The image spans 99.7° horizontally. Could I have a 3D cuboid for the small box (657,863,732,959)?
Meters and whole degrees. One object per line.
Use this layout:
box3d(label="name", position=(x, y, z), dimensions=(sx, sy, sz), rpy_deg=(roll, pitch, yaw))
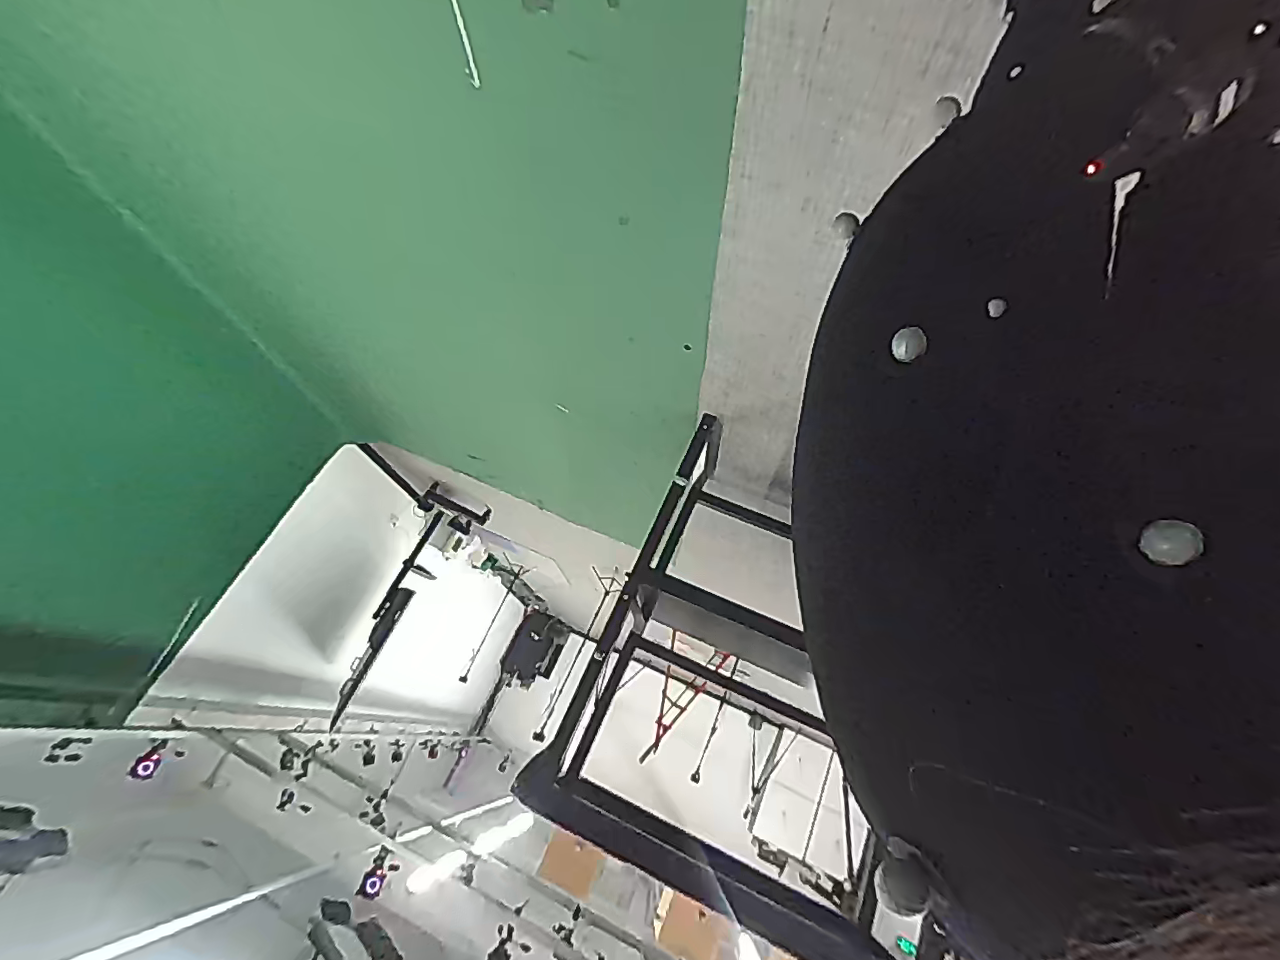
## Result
box3d(label="small box", position=(0.159, 1.276, 1.602), dimensions=(0.168, 0.176, 0.179), rpy_deg=(23, 158, 9))

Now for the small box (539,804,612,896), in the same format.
box3d(label="small box", position=(-0.193, 1.137, 1.679), dimensions=(0.168, 0.176, 0.179), rpy_deg=(23, 157, 8))
